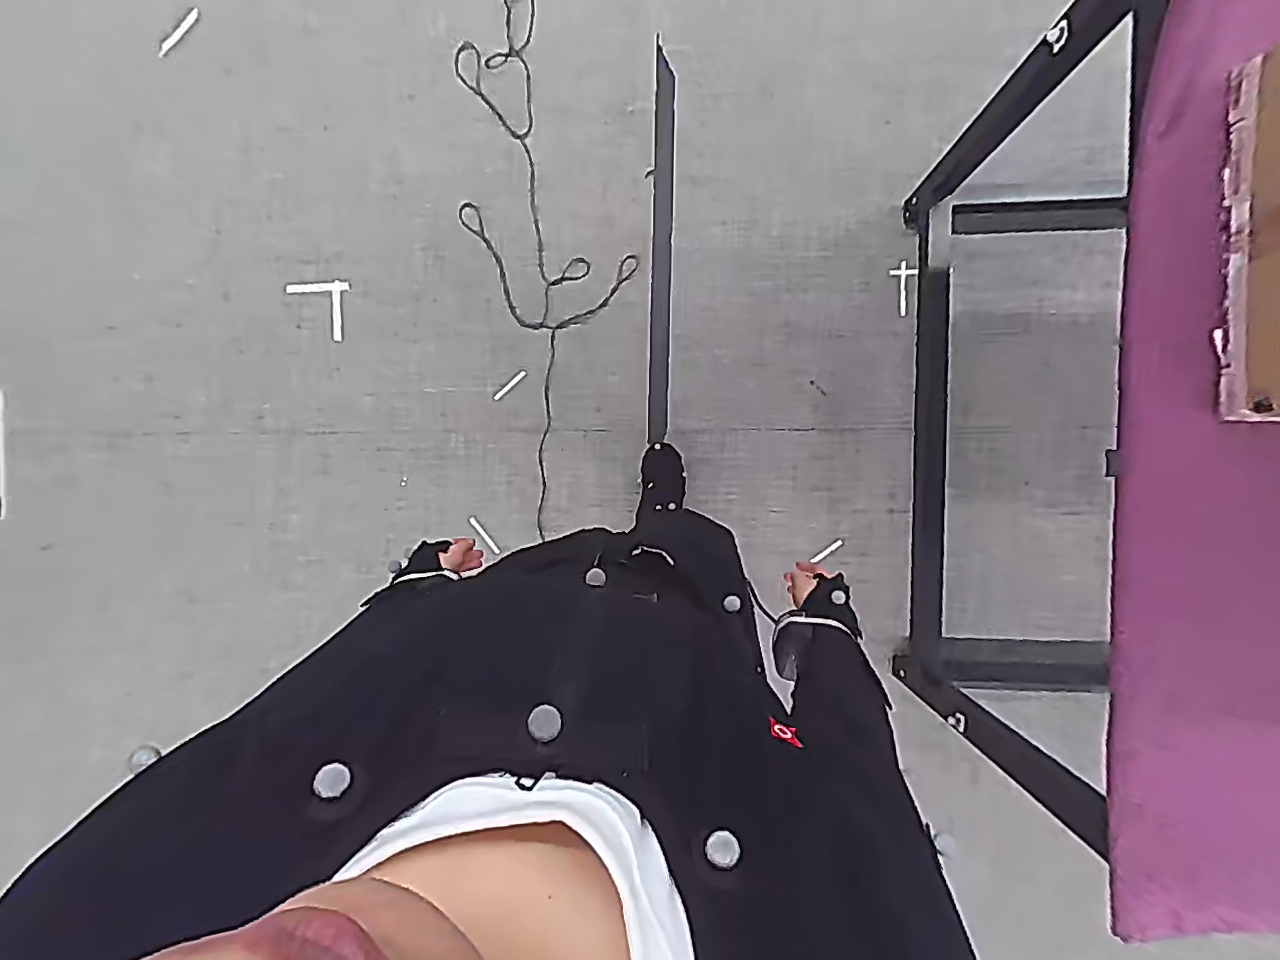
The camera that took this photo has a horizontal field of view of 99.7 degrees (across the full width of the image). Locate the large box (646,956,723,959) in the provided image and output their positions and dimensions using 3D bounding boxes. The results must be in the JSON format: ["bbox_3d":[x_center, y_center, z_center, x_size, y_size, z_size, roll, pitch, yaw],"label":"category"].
[{"bbox_3d":[0.155,1.421,1.230,0.320,0.320,0.408,0,89,3],"label":"large box"}]
